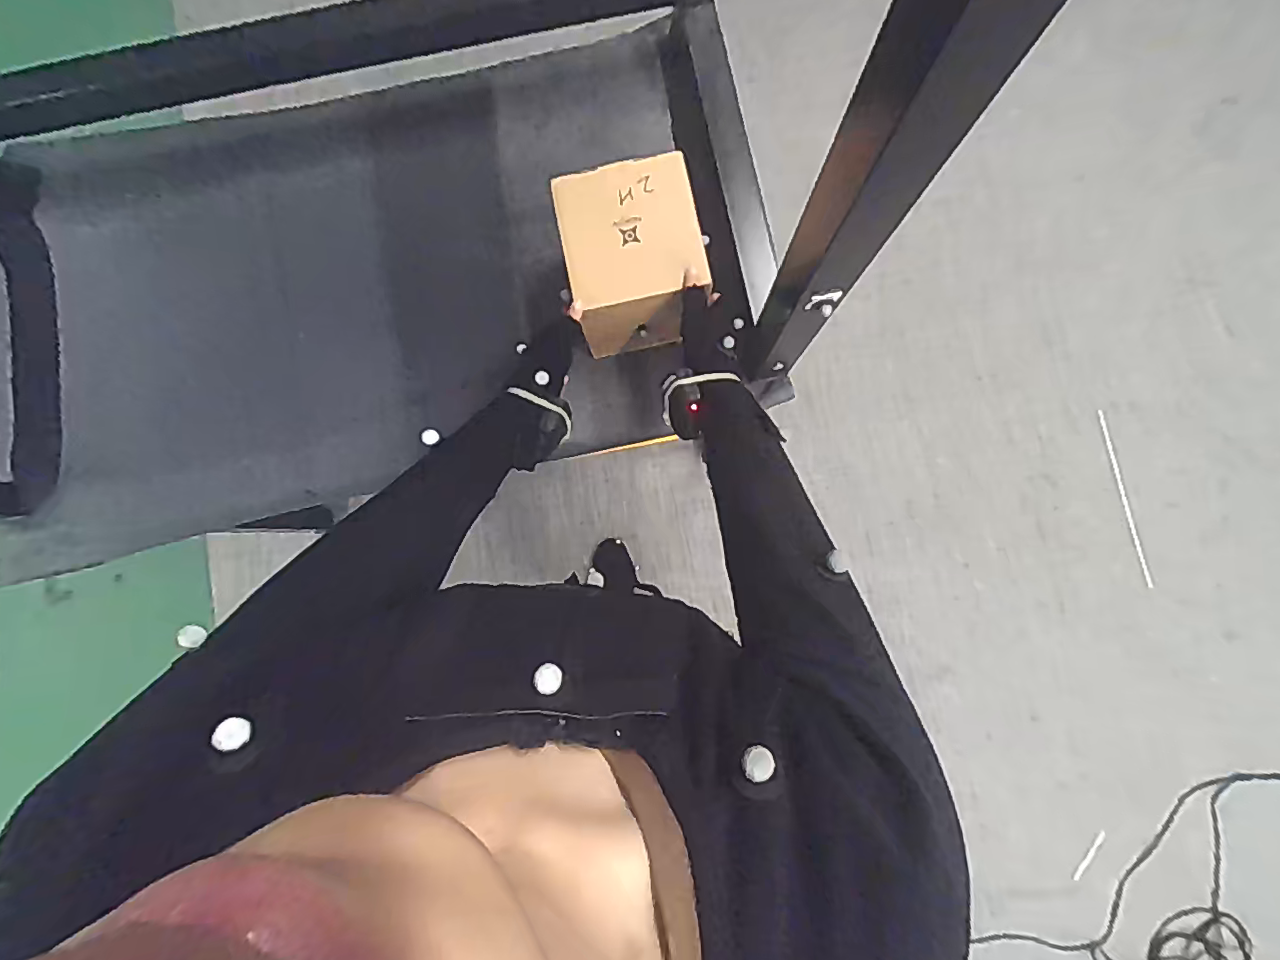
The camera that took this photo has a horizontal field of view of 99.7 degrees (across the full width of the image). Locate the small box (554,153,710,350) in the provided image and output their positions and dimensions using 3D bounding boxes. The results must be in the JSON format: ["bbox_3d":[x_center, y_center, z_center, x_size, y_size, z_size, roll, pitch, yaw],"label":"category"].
[{"bbox_3d":[-0.006,-0.289,0.727,0.168,0.176,0.179,-12,83,1],"label":"small box"}]
